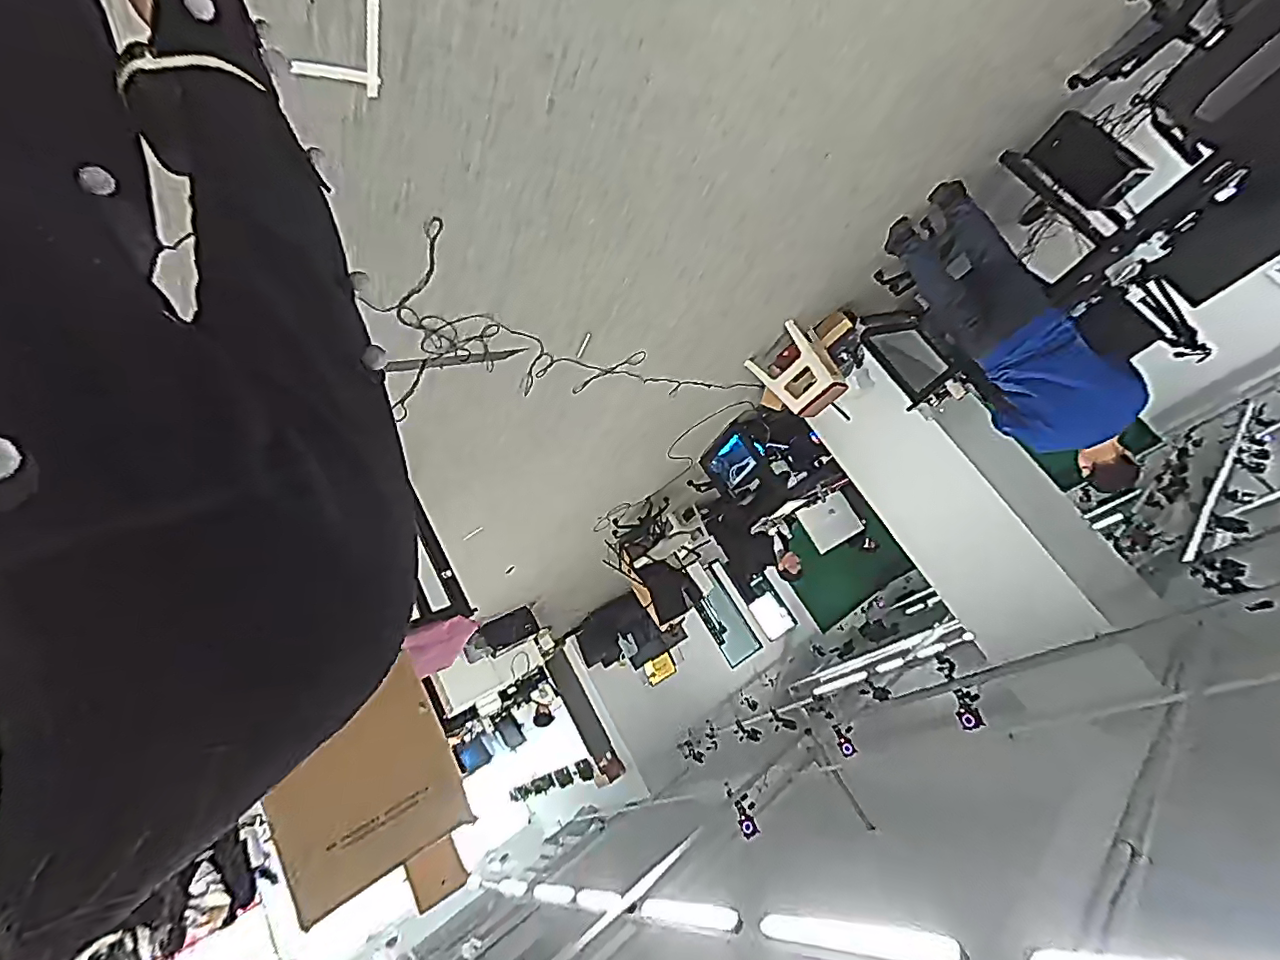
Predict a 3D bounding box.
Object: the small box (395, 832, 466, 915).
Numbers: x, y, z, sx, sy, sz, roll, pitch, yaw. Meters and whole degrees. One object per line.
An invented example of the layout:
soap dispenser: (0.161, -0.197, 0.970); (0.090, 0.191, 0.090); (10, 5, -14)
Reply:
small box: (-0.734, 1.362, 1.886); (0.179, 0.176, 0.168); (-19, 158, -34)
